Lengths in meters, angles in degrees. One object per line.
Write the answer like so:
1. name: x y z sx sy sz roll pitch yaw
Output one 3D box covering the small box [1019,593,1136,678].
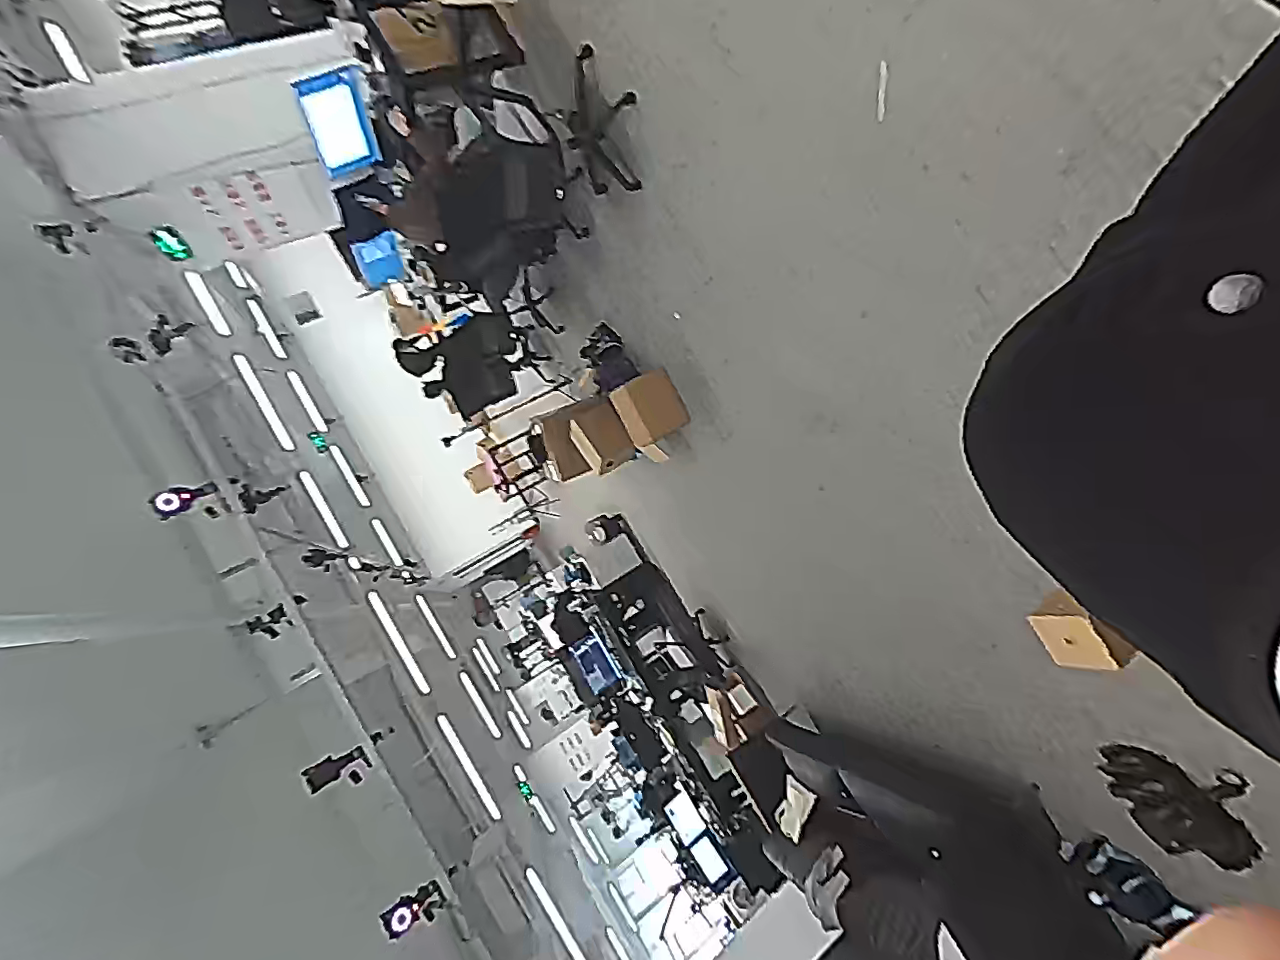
1. small box: 1.236 0.430 1.521 0.168 0.176 0.179 60 162 5
